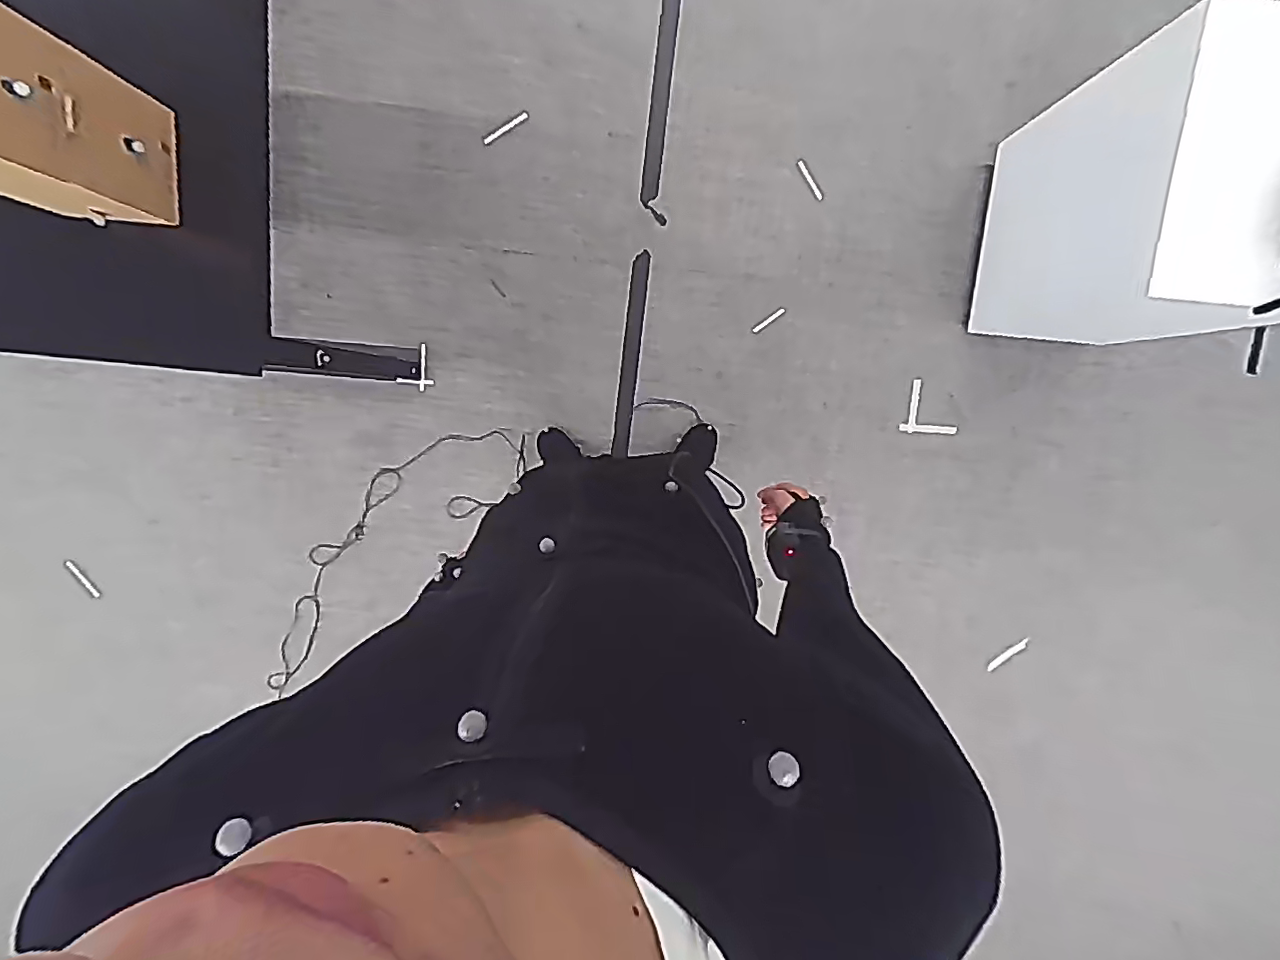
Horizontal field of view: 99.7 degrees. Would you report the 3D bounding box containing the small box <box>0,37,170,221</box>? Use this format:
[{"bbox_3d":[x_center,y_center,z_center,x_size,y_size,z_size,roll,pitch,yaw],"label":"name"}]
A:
[{"bbox_3d":[-0.784,-0.466,0.733,0.179,0.176,0.168,4,98,-2],"label":"small box"}]

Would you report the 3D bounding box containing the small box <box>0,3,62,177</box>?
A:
[{"bbox_3d":[-0.784,-0.442,0.569,0.179,0.176,0.168,4,99,-1],"label":"small box"}]
